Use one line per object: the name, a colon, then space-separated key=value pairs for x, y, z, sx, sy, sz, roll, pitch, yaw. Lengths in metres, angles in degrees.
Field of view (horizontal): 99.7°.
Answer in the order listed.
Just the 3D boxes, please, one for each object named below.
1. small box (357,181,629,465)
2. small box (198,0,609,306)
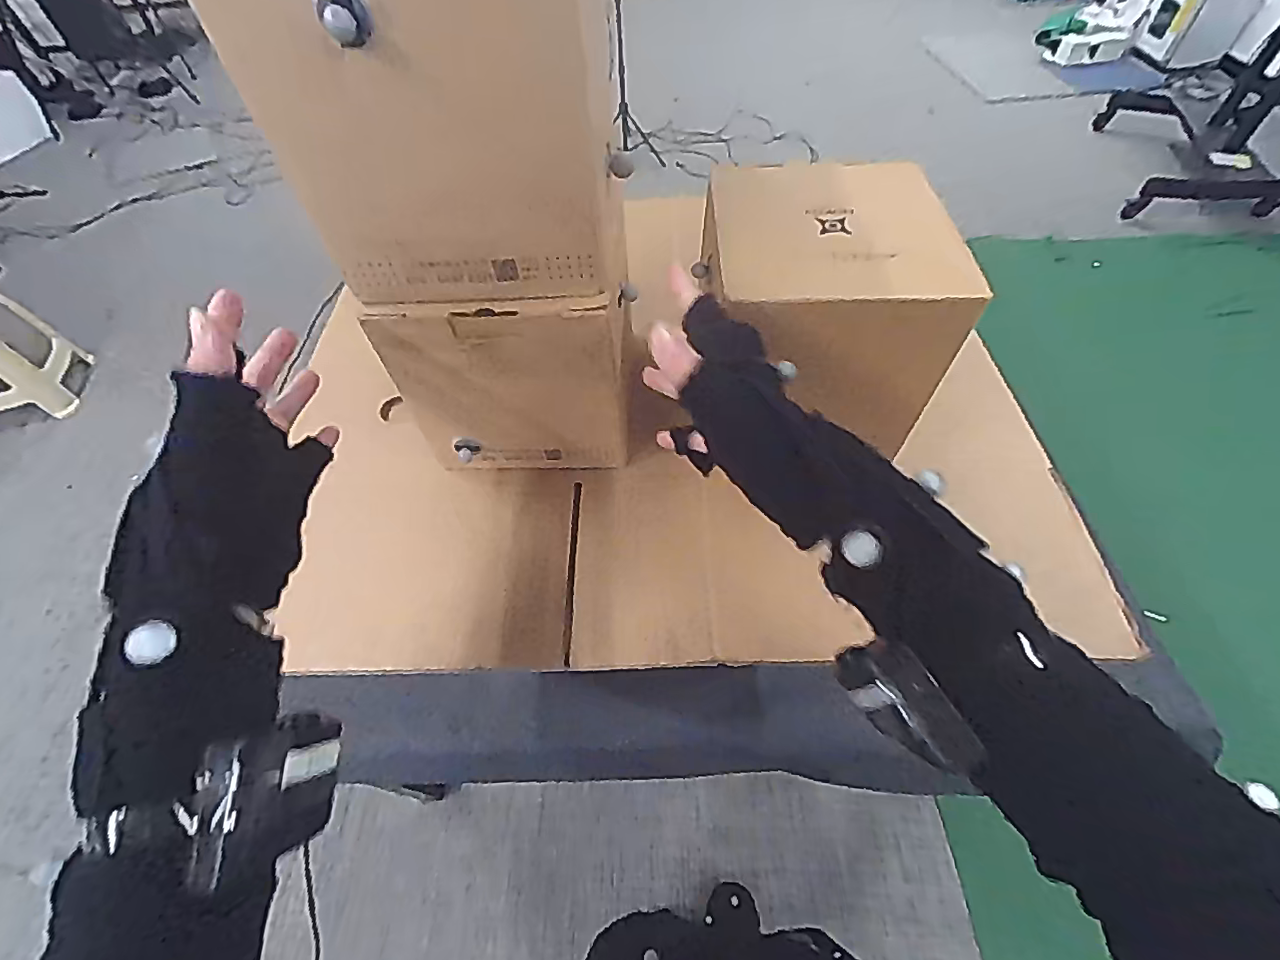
small box: x=-0.098 y=-0.126 z=0.461 sx=0.168 sy=0.176 sz=0.179 roll=0 pitch=54 yaw=3
small box: x=-0.110 y=-0.230 z=0.336 sx=0.168 sy=0.176 sz=0.179 roll=-2 pitch=54 yaw=2
